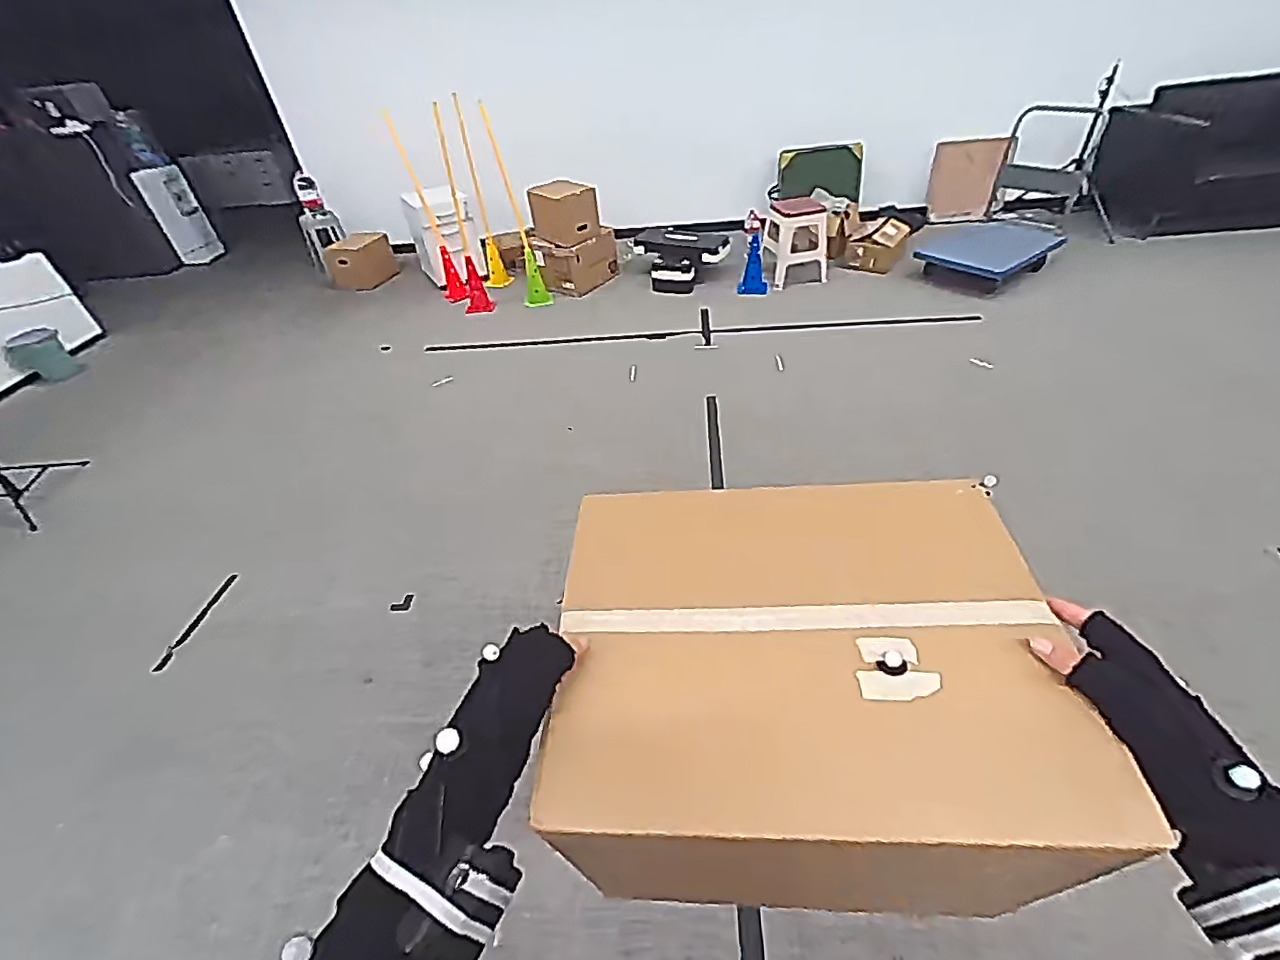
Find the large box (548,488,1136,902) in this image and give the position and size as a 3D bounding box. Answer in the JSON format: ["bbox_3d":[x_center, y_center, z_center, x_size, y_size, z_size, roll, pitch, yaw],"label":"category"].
[{"bbox_3d":[0.148,0.232,0.577,0.408,0.320,0.320,-3,45,6],"label":"large box"}]
